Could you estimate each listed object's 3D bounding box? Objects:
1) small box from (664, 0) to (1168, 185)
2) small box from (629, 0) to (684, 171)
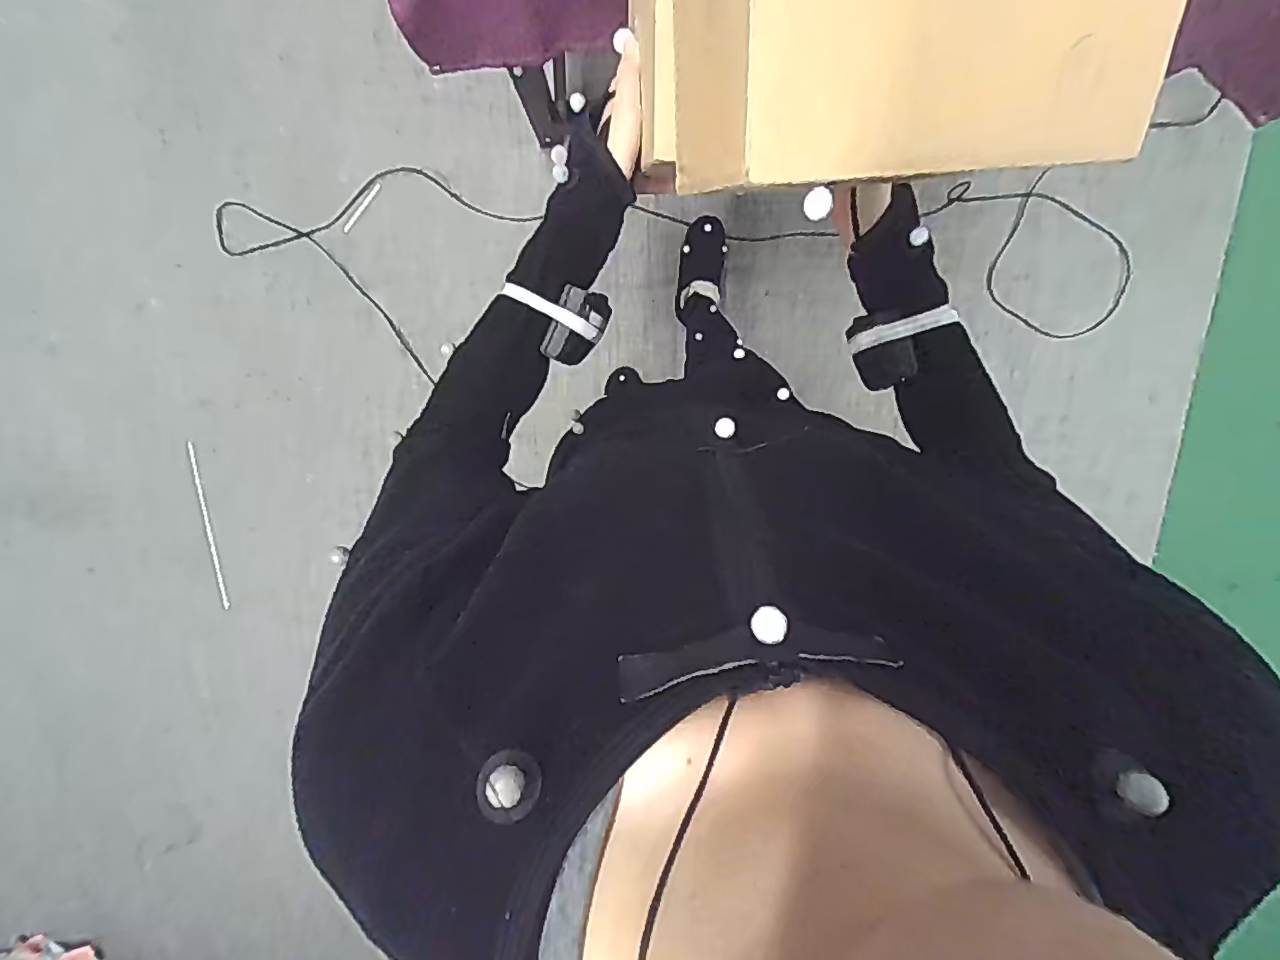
[{"bbox_3d":[0.103,-0.239,0.249,0.168,0.176,0.179,-5,115,-3],"label":"small box"},{"bbox_3d":[0.084,-0.322,0.389,0.179,0.176,0.168,-2,116,-3],"label":"small box"}]
